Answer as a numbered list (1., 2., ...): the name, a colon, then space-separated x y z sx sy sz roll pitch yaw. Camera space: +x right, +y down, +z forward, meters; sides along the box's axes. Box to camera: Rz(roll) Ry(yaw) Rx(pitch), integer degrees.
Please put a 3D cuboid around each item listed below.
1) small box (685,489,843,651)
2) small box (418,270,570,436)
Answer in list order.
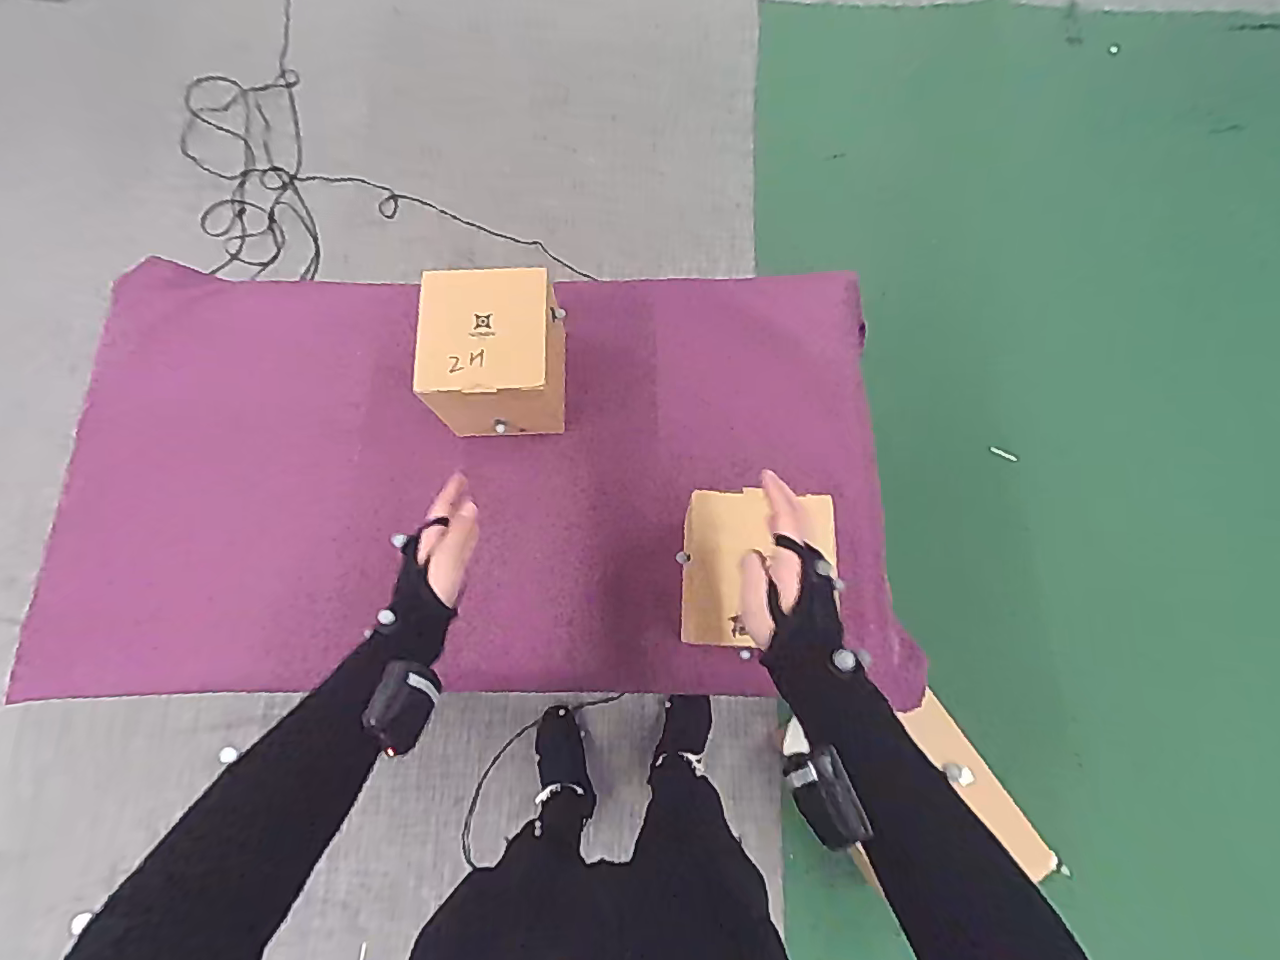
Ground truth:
1. small box: 0.144 0.121 0.685 0.168 0.176 0.179 2 73 3
2. small box: -0.195 -0.173 0.771 0.168 0.176 0.179 -1 75 1
